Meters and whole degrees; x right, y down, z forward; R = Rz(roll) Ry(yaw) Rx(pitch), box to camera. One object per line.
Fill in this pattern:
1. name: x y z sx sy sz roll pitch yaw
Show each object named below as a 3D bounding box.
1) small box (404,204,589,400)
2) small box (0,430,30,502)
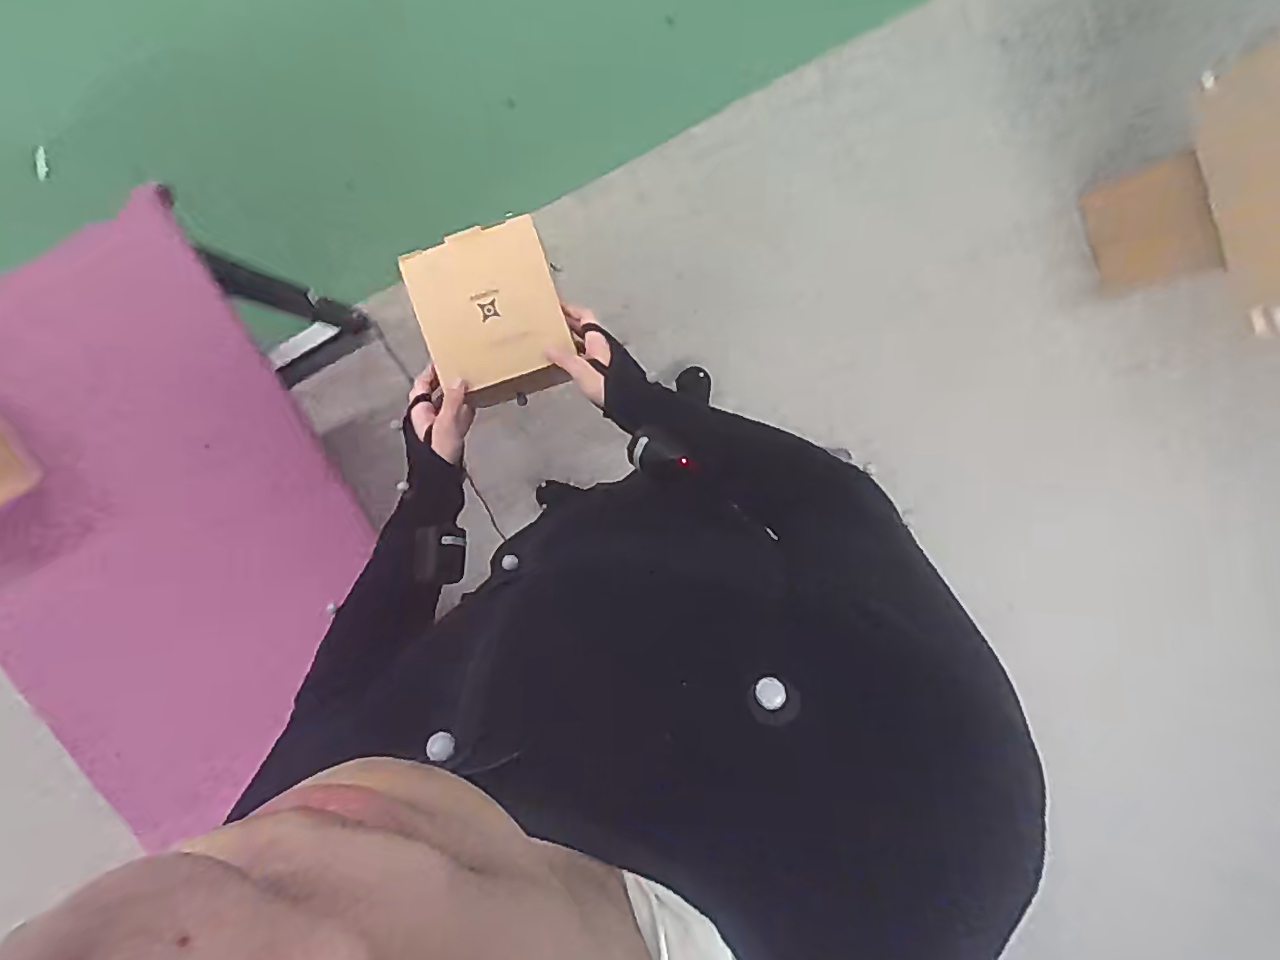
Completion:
1. small box: -0.170 -0.214 0.697 0.168 0.176 0.179 -17 94 0
2. small box: -1.038 -0.015 0.744 0.179 0.176 0.168 -31 98 1
